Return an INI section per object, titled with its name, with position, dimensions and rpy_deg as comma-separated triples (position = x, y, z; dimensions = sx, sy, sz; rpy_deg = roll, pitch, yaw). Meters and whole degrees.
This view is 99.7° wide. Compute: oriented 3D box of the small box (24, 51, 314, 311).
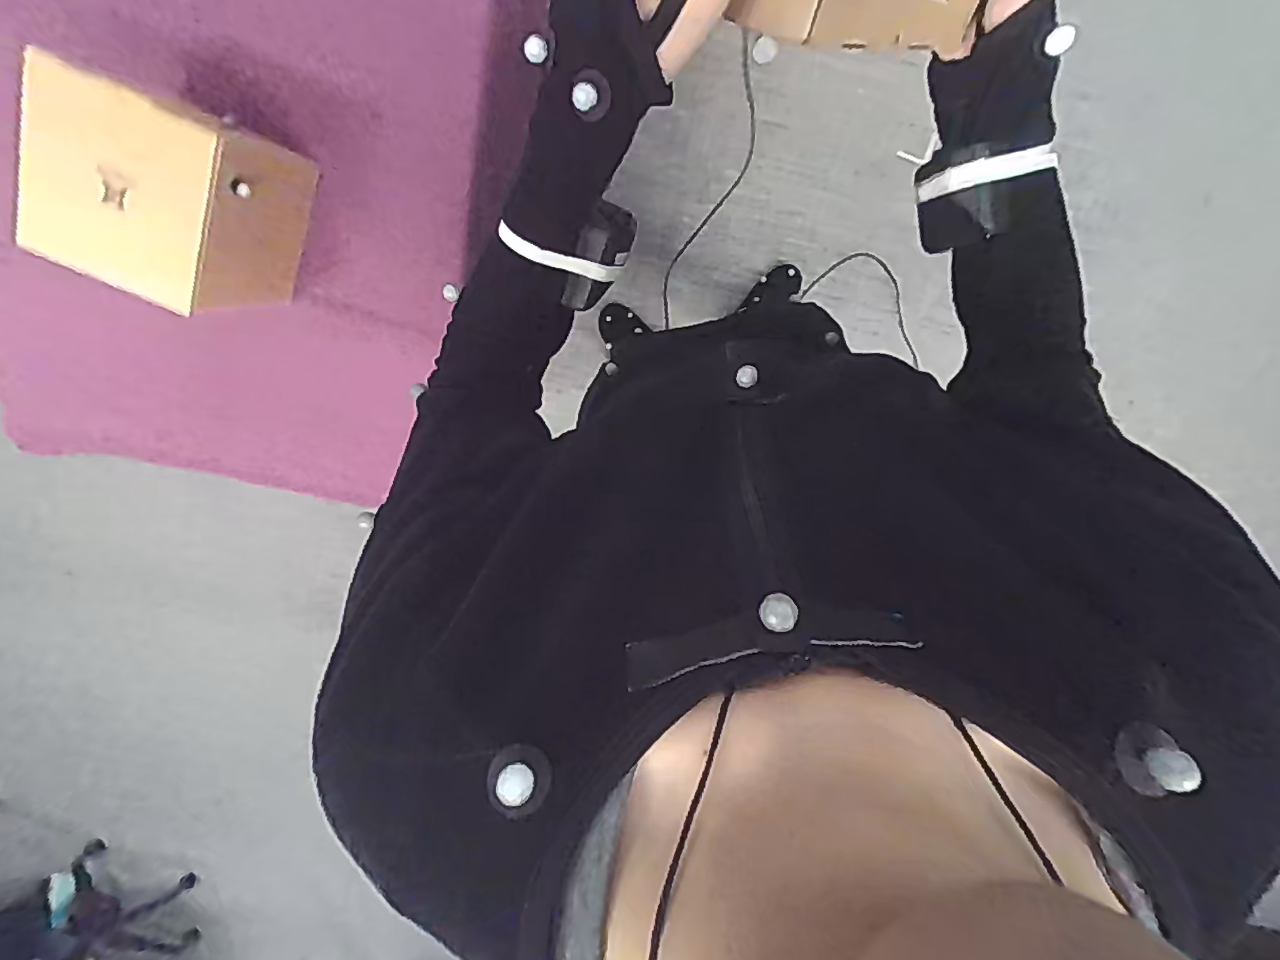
[small box]
position = -0.493, -0.301, 0.590
dimensions = 0.168, 0.176, 0.179
rpy_deg = 23, 107, -7
